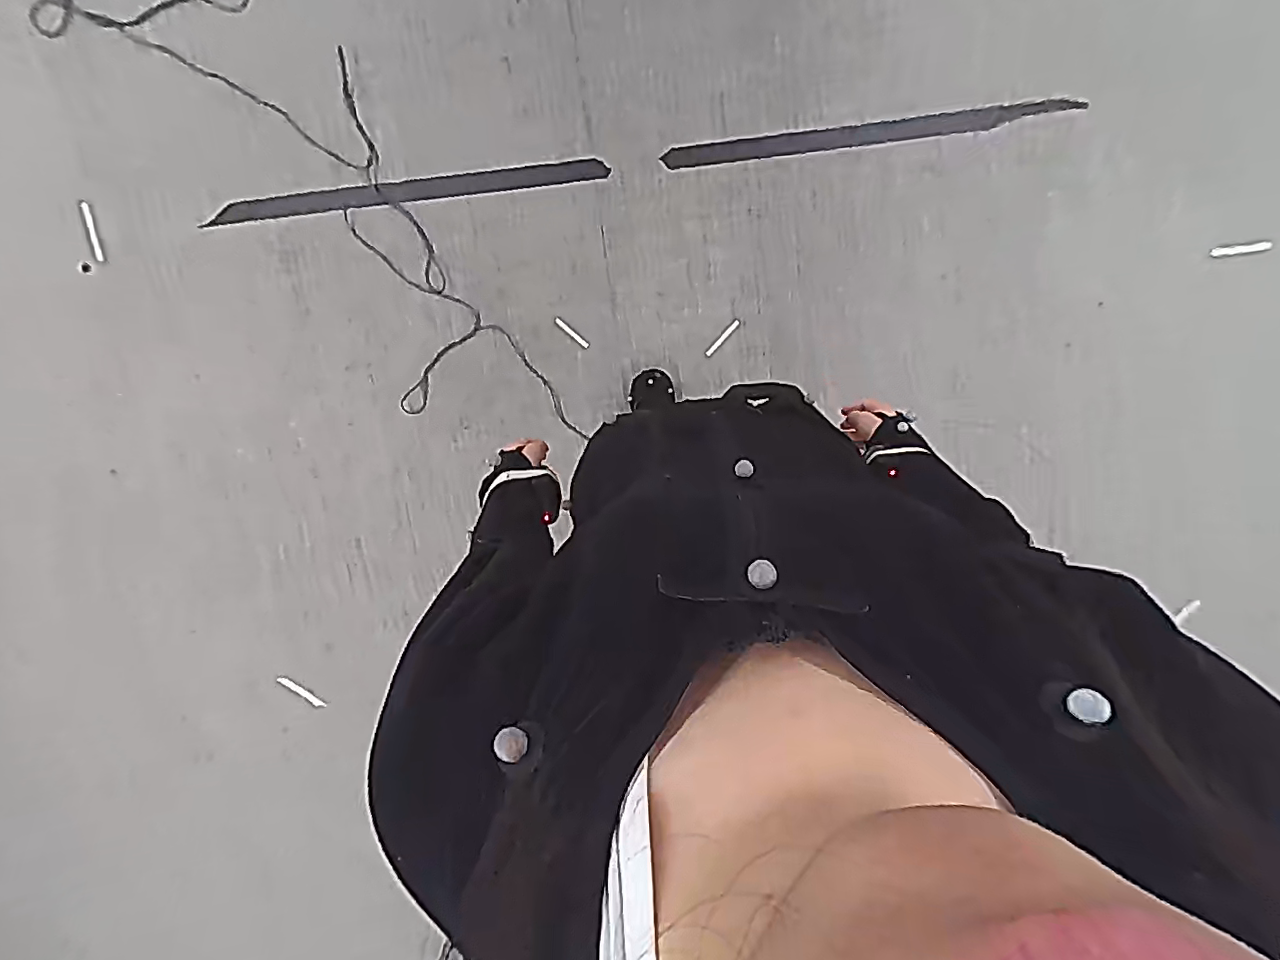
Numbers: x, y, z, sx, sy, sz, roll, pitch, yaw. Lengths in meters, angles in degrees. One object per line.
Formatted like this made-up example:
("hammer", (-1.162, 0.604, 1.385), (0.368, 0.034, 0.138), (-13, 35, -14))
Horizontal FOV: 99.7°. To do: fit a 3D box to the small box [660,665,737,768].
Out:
("small box", (0.157, 0.650, 1.500), (0.168, 0.176, 0.179), (-17, 100, 1))
